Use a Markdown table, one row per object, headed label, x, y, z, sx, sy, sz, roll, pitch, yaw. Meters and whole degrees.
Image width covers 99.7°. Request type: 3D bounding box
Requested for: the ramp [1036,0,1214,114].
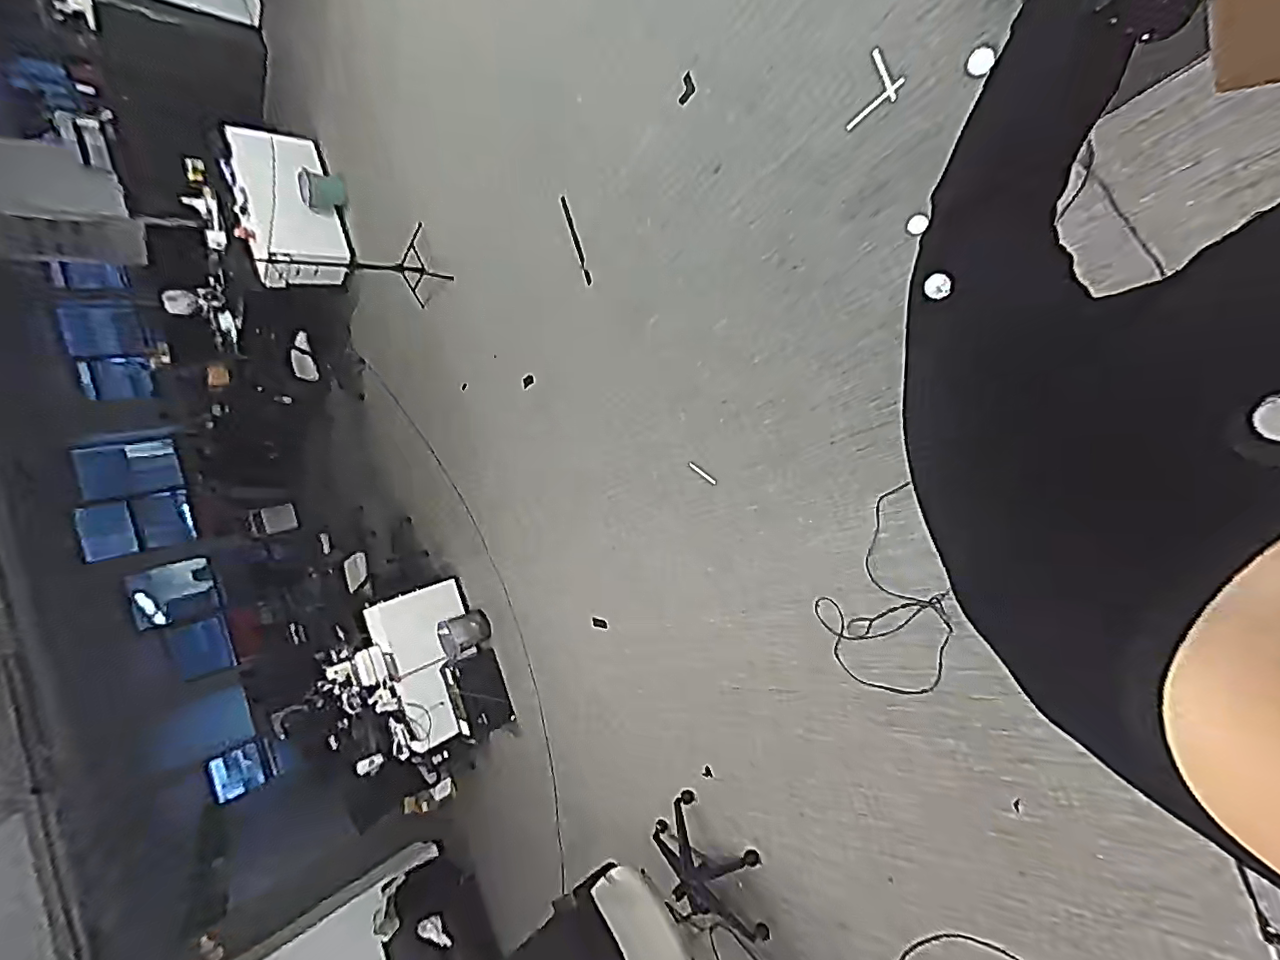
| label | x | y | z | sx | sy | sz | roll | pitch | yaw |
| --- | --- | --- | --- | --- | --- | --- | --- | --- | --- |
| ramp | 0.821 | -1.231 | 0.874 | 0.509 | 0.206 | 0.991 | -26 | 83 | 48 |
